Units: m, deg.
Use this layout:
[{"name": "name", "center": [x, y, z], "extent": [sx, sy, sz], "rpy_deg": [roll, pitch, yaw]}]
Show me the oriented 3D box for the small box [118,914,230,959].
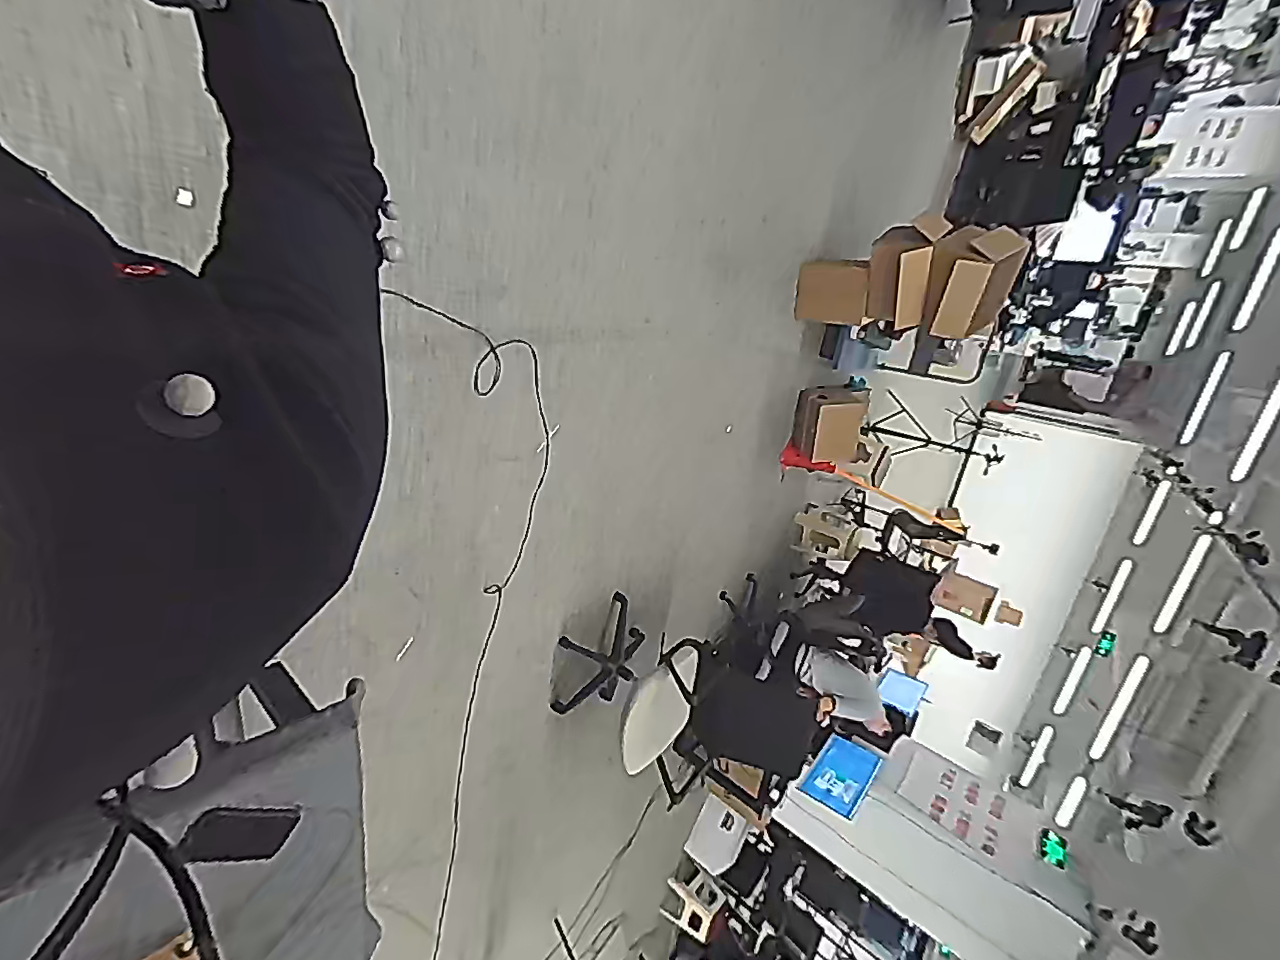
[{"name": "small box", "center": [-0.658, 0.757, 0.742], "extent": [0.168, 0.176, 0.179], "rpy_deg": [-18, 124, -47]}]
